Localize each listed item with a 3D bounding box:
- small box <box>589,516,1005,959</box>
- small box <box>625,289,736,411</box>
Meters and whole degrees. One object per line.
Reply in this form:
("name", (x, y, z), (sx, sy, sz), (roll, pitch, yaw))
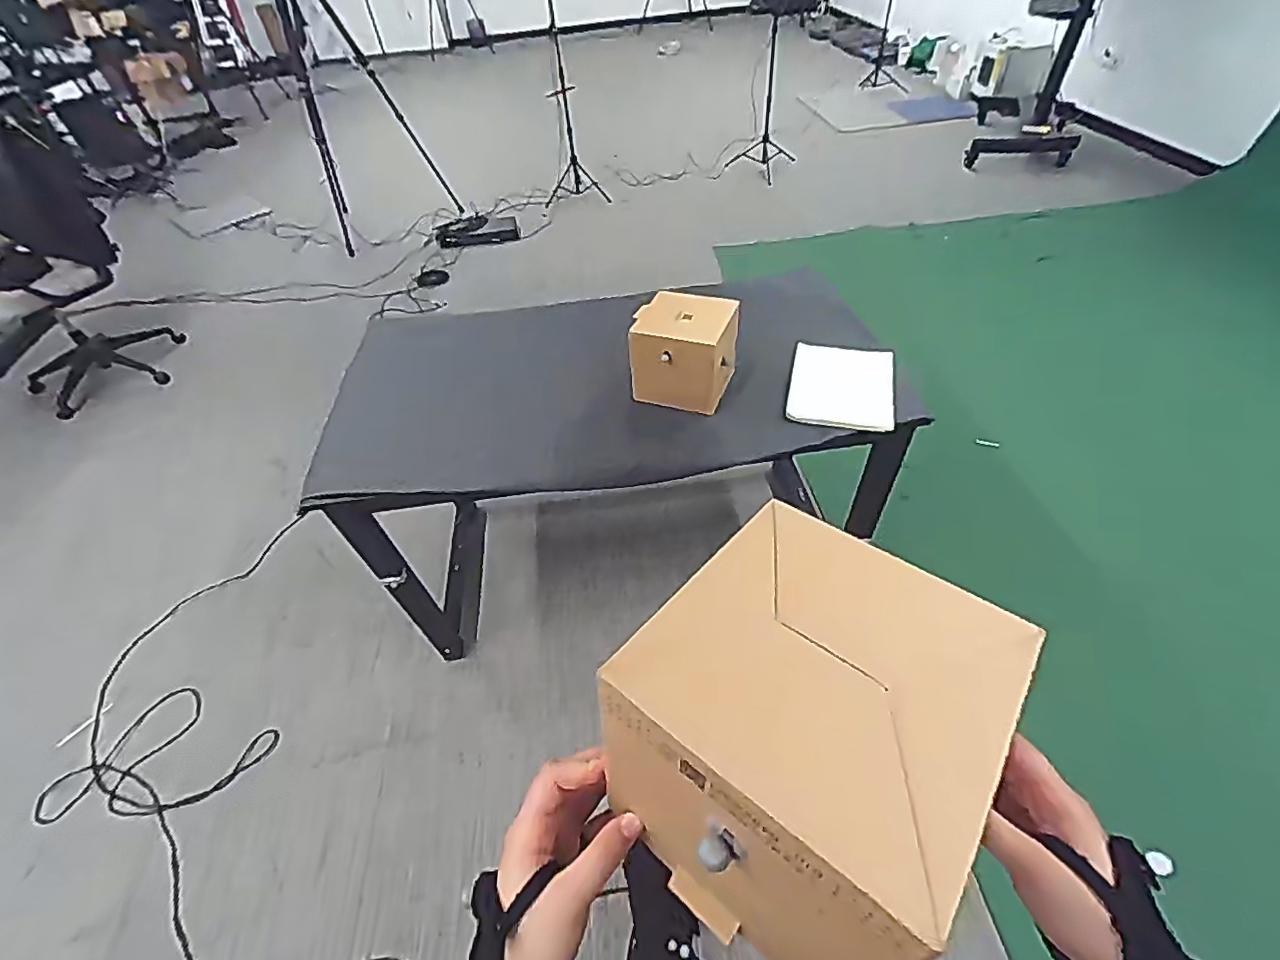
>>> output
("small box", (0.087, 0.145, 0.330), (0.168, 0.176, 0.179), (28, 47, 30))
("small box", (0.087, -0.262, 1.100), (0.179, 0.176, 0.168), (14, 50, 19))
